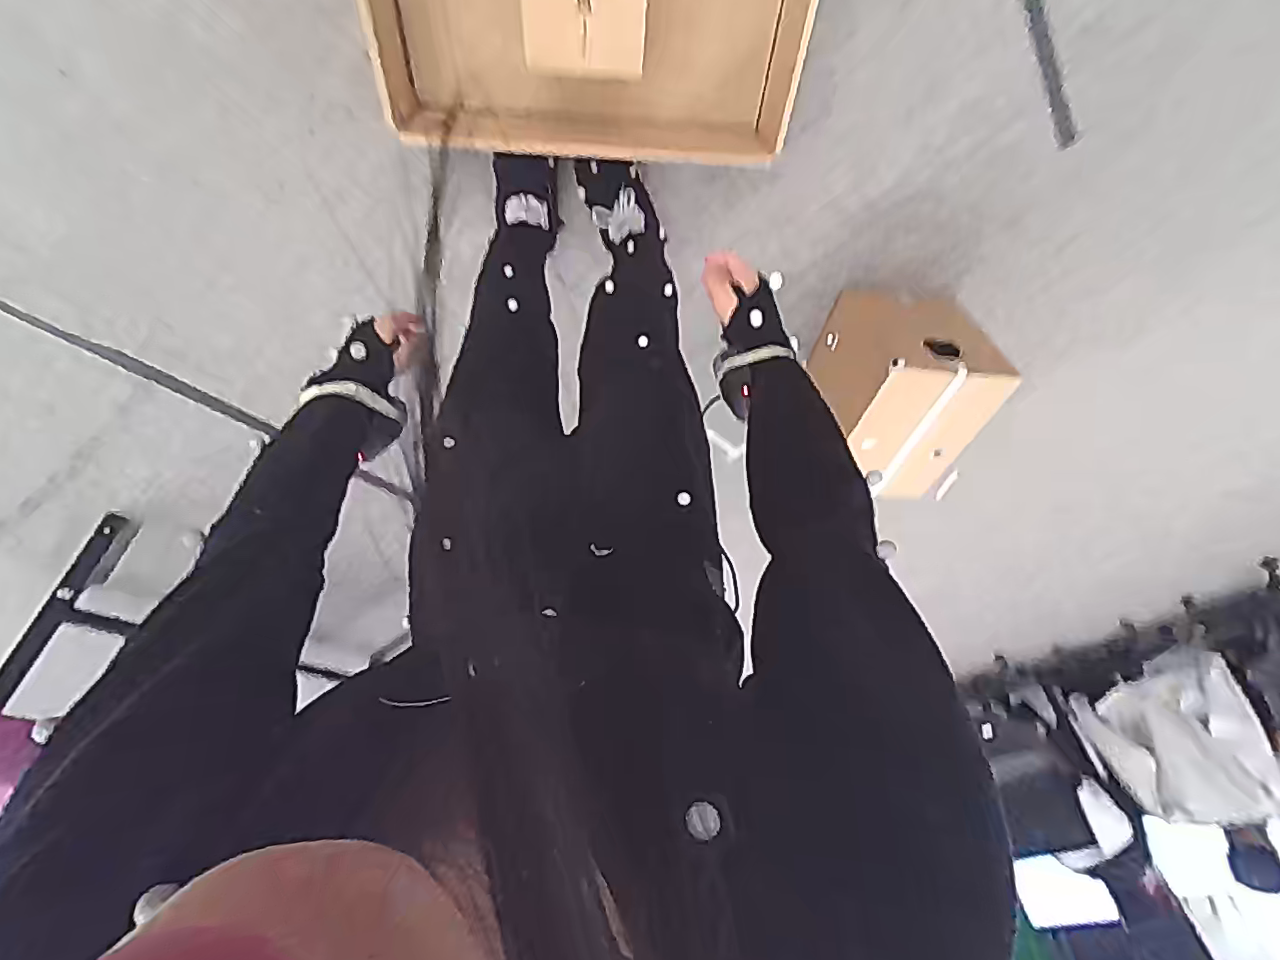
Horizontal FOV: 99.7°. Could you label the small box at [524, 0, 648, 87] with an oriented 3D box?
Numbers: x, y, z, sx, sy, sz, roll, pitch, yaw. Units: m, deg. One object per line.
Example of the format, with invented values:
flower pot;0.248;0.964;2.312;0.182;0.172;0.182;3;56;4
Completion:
small box;-0.079;-0.689;0.765;0.168;0.176;0.179;0;139;-6
